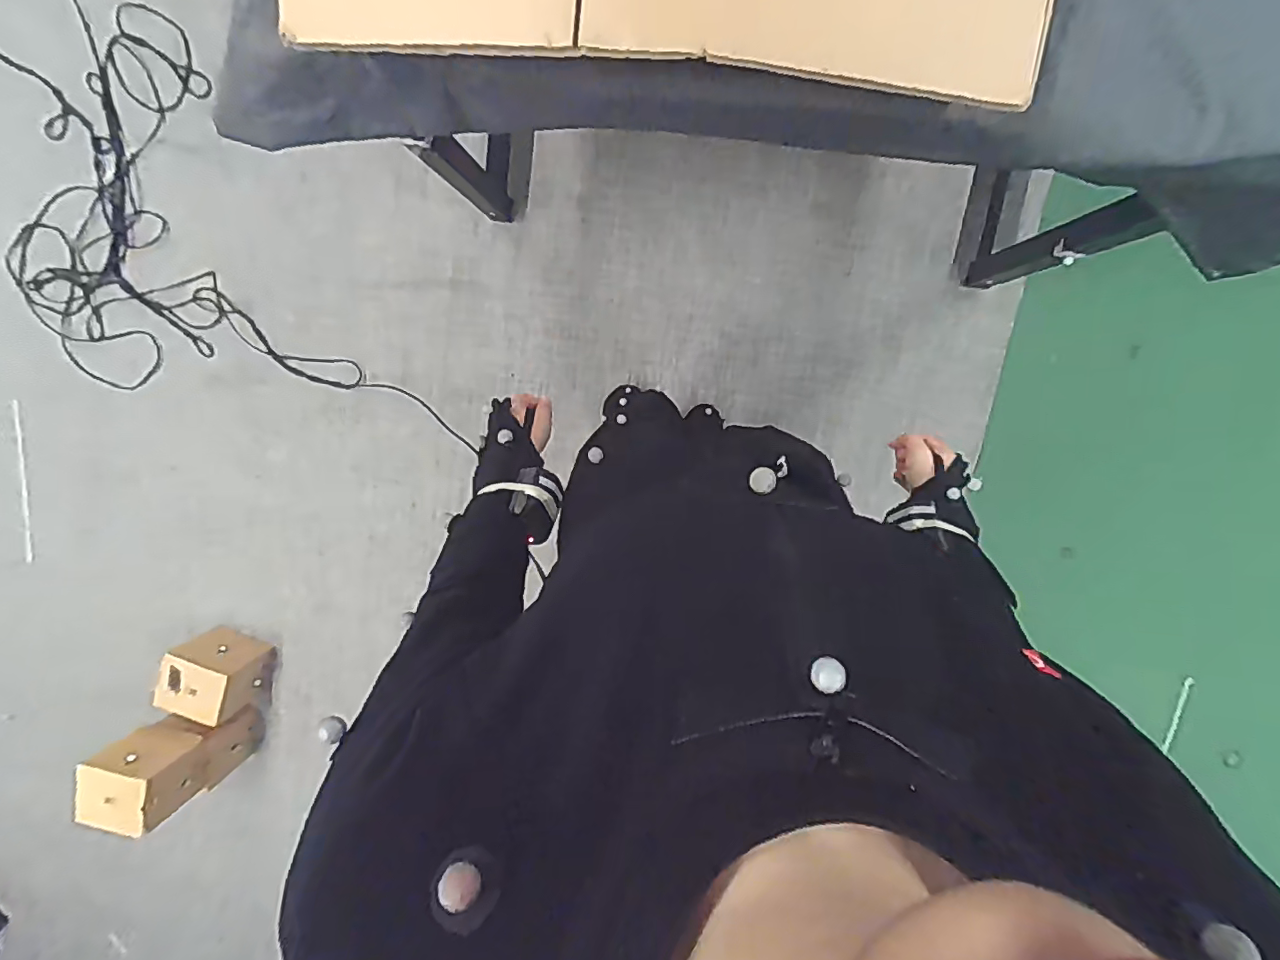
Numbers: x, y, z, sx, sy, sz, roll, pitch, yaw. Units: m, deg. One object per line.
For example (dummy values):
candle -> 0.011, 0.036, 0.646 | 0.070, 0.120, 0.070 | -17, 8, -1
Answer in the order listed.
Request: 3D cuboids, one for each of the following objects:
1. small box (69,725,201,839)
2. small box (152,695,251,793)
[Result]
small box -> -1.257, 0.746, 1.354 | 0.179, 0.176, 0.168 | 13, 100, 1
small box -> -1.234, 0.732, 1.516 | 0.179, 0.176, 0.168 | 12, 101, 1
